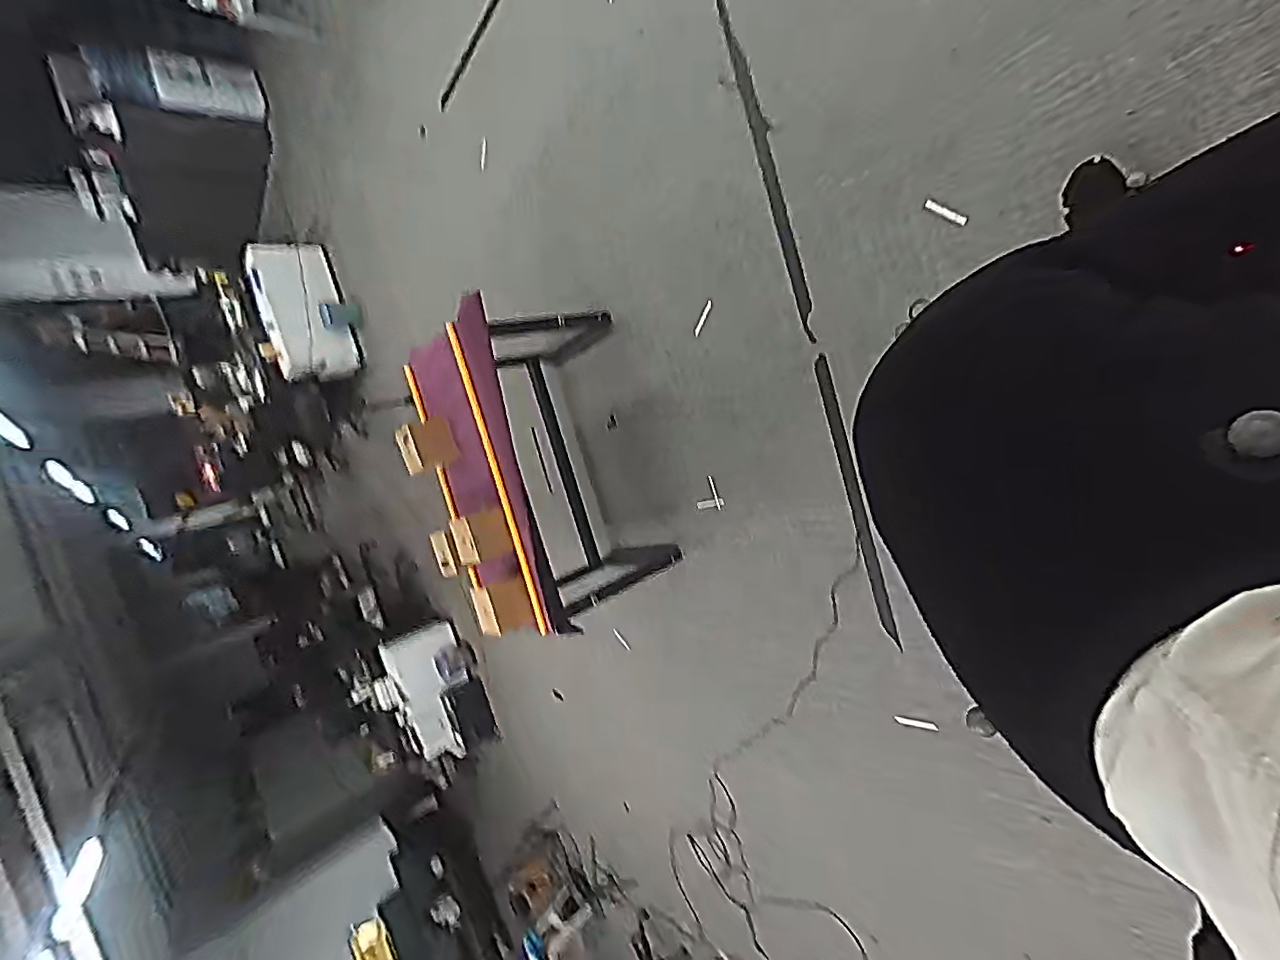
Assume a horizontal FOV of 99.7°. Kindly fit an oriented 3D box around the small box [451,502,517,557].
[{"bbox_3d":[-0.595,0.189,2.071,0.179,0.176,0.168,-12,97,51],"label":"small box"}]

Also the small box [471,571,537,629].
[{"bbox_3d":[-0.526,0.458,2.099,0.168,0.176,0.179,-13,95,51],"label":"small box"}]

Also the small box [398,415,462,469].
[{"bbox_3d":[-0.869,-0.162,2.239,0.168,0.176,0.179,-16,94,49],"label":"small box"}]
